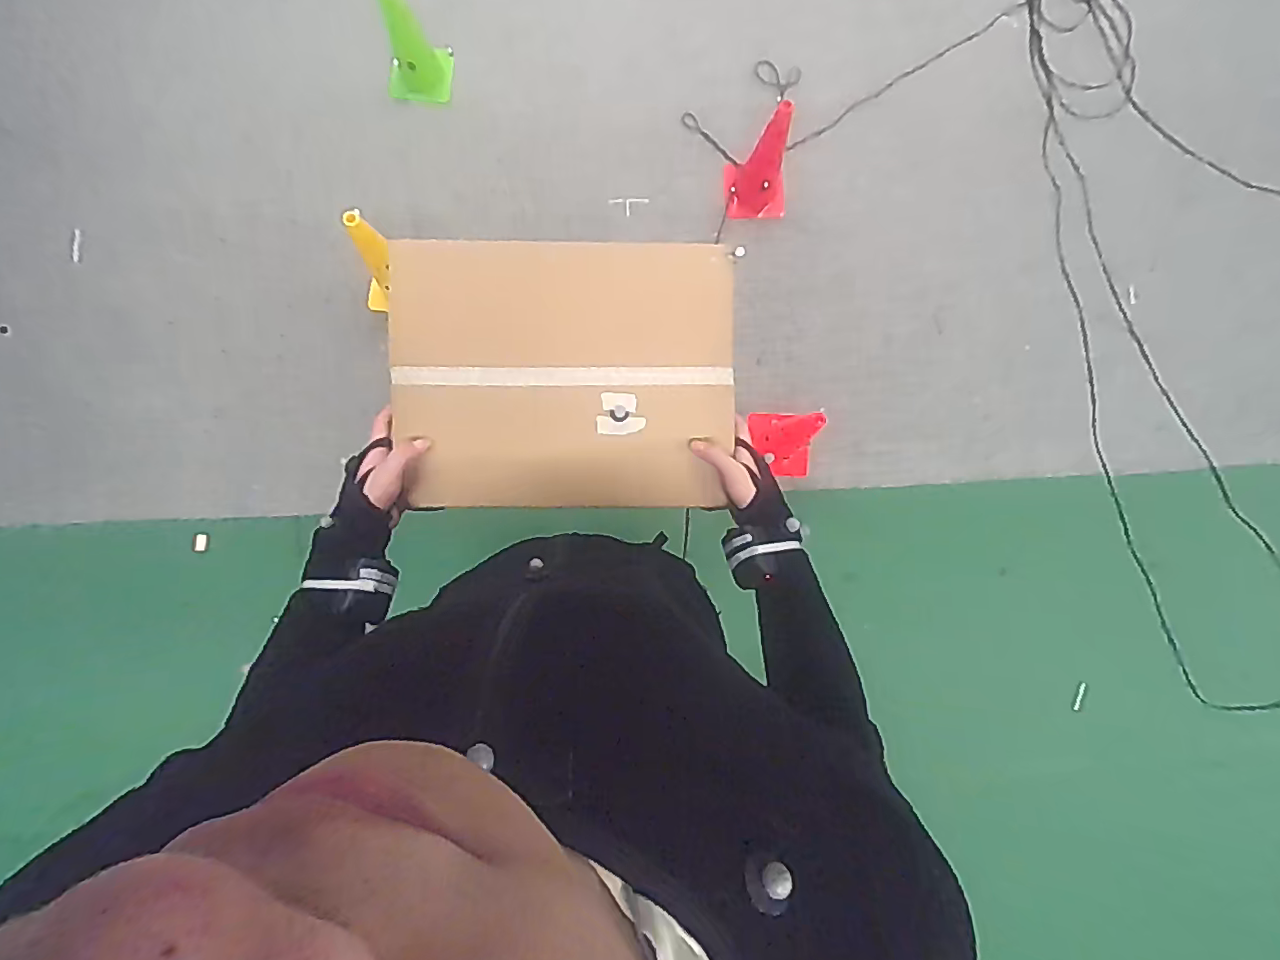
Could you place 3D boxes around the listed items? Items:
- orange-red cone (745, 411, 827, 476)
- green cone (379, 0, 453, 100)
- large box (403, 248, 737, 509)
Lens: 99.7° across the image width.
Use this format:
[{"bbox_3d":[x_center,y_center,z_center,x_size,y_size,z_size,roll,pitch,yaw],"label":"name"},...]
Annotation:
[{"bbox_3d":[0.449,-0.134,1.547,0.199,0.360,0.198,5,84,-4],"label":"orange-red cone"},{"bbox_3d":[-0.727,-1.390,1.641,0.200,0.368,0.202,3,84,-2],"label":"green cone"},{"bbox_3d":[-0.088,-0.129,0.800,0.408,0.320,0.320,0,93,-2],"label":"large box"}]
